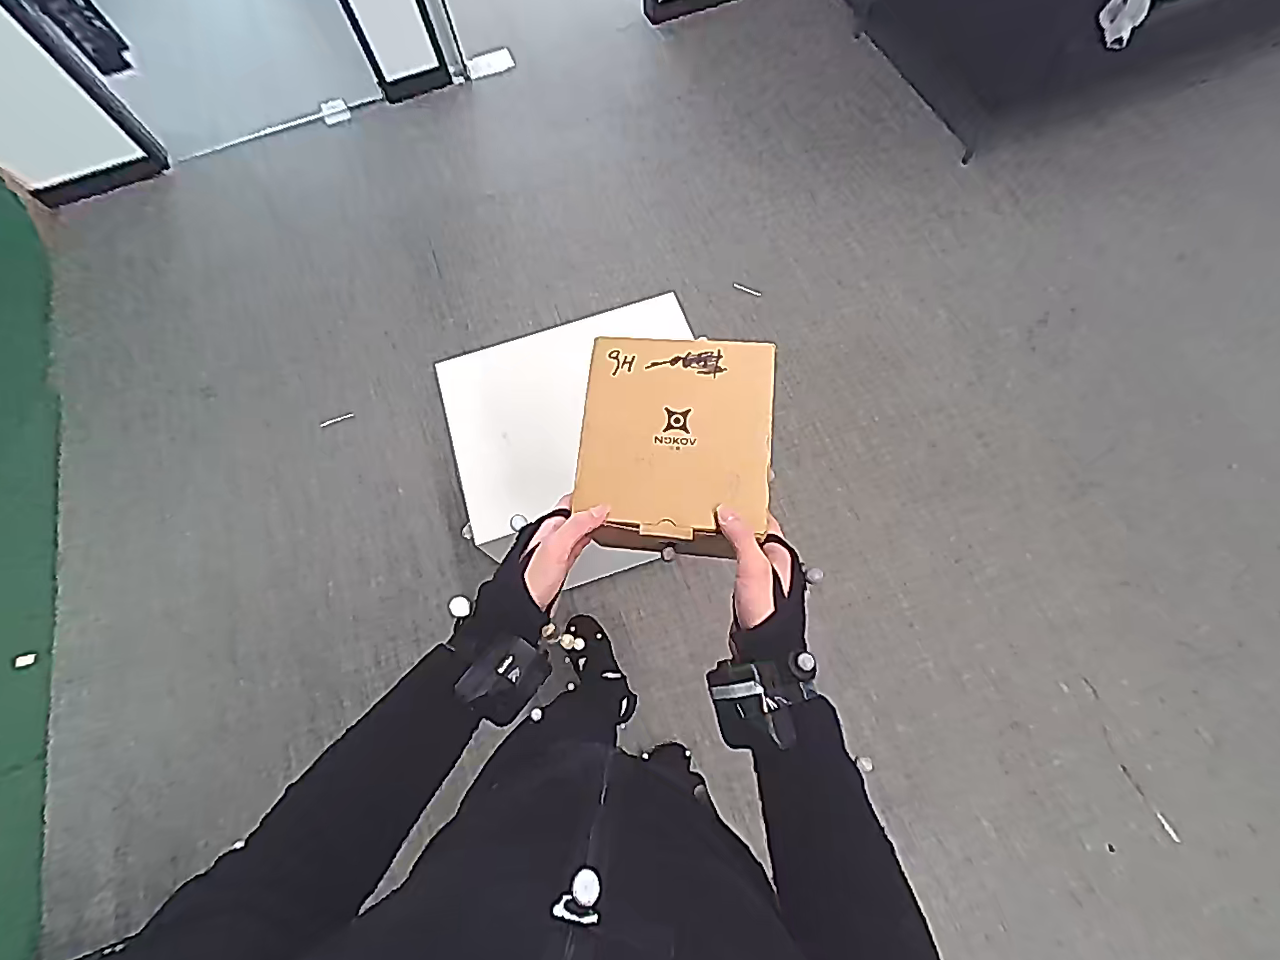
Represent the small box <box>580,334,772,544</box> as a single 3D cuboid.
[{"bbox_3d":[0.042,-0.031,0.557,0.168,0.176,0.179,2,76,6],"label":"small box"}]
